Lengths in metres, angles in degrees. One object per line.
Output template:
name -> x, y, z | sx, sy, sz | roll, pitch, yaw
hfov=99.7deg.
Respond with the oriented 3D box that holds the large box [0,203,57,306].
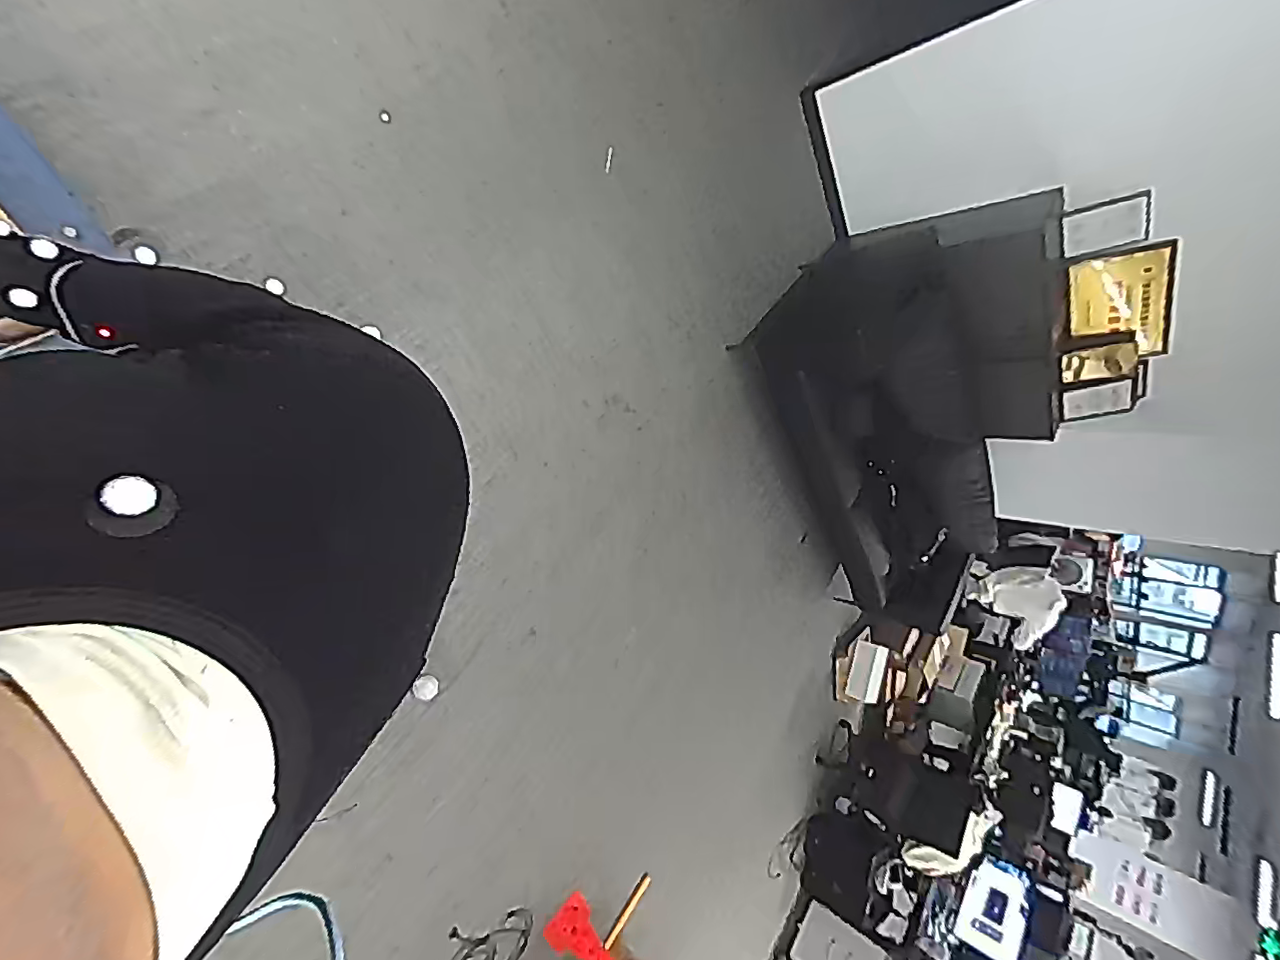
large box -> -1.146, -0.409, 0.727 | 0.320, 0.320, 0.408 | -44, 124, -31
